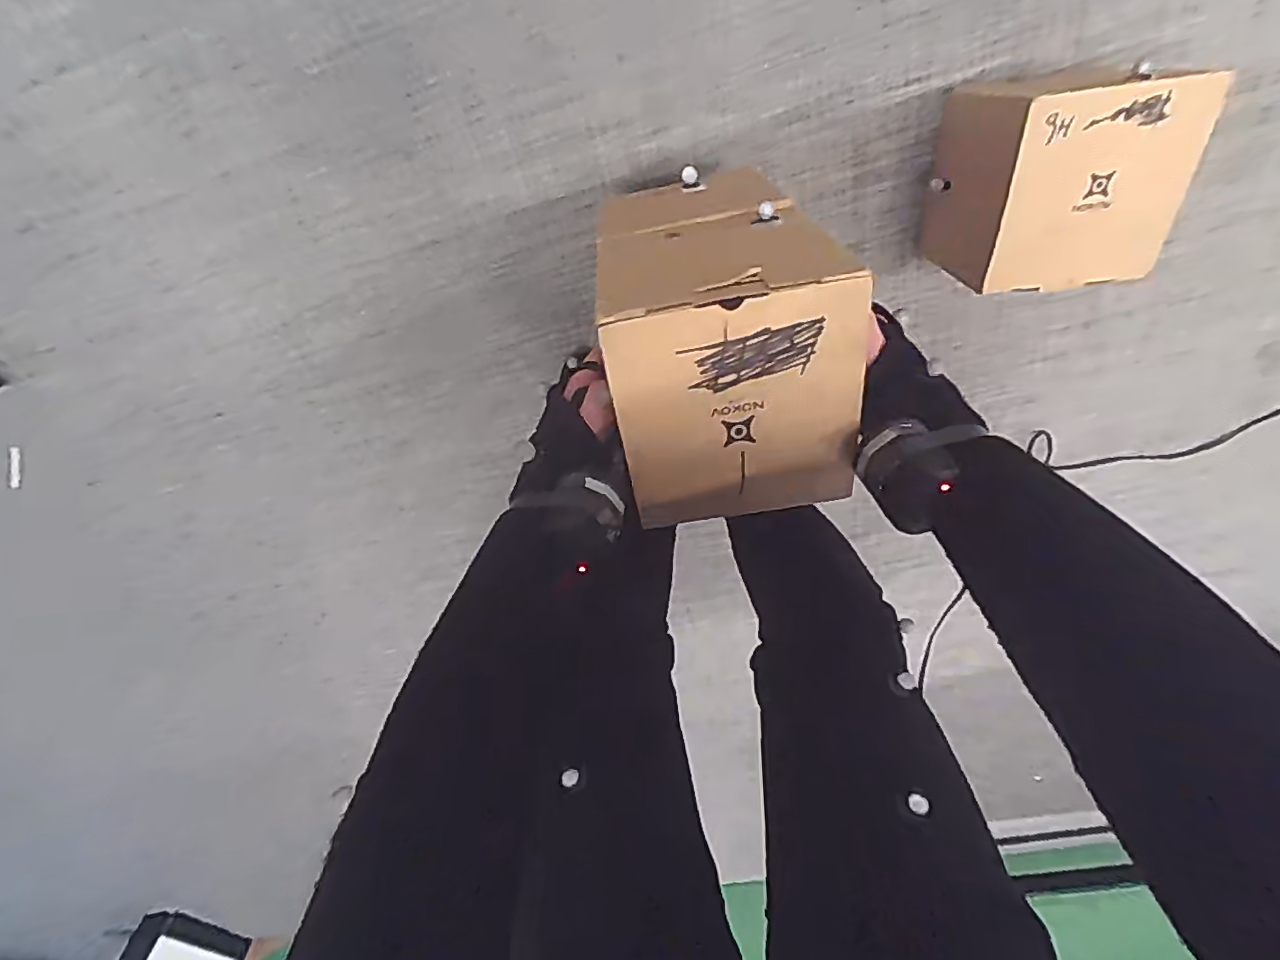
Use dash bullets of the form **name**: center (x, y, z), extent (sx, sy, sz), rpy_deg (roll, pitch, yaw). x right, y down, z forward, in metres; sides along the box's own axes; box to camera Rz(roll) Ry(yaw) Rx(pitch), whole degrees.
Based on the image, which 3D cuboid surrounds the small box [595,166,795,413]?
- **small box**: center (0.056, -0.195, 0.549), extent (0.168, 0.176, 0.179), rpy_deg (-10, 127, 6)

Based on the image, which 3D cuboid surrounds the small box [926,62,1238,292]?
- **small box**: center (0.428, -0.320, 0.569), extent (0.168, 0.176, 0.179), rpy_deg (-4, 129, 4)
